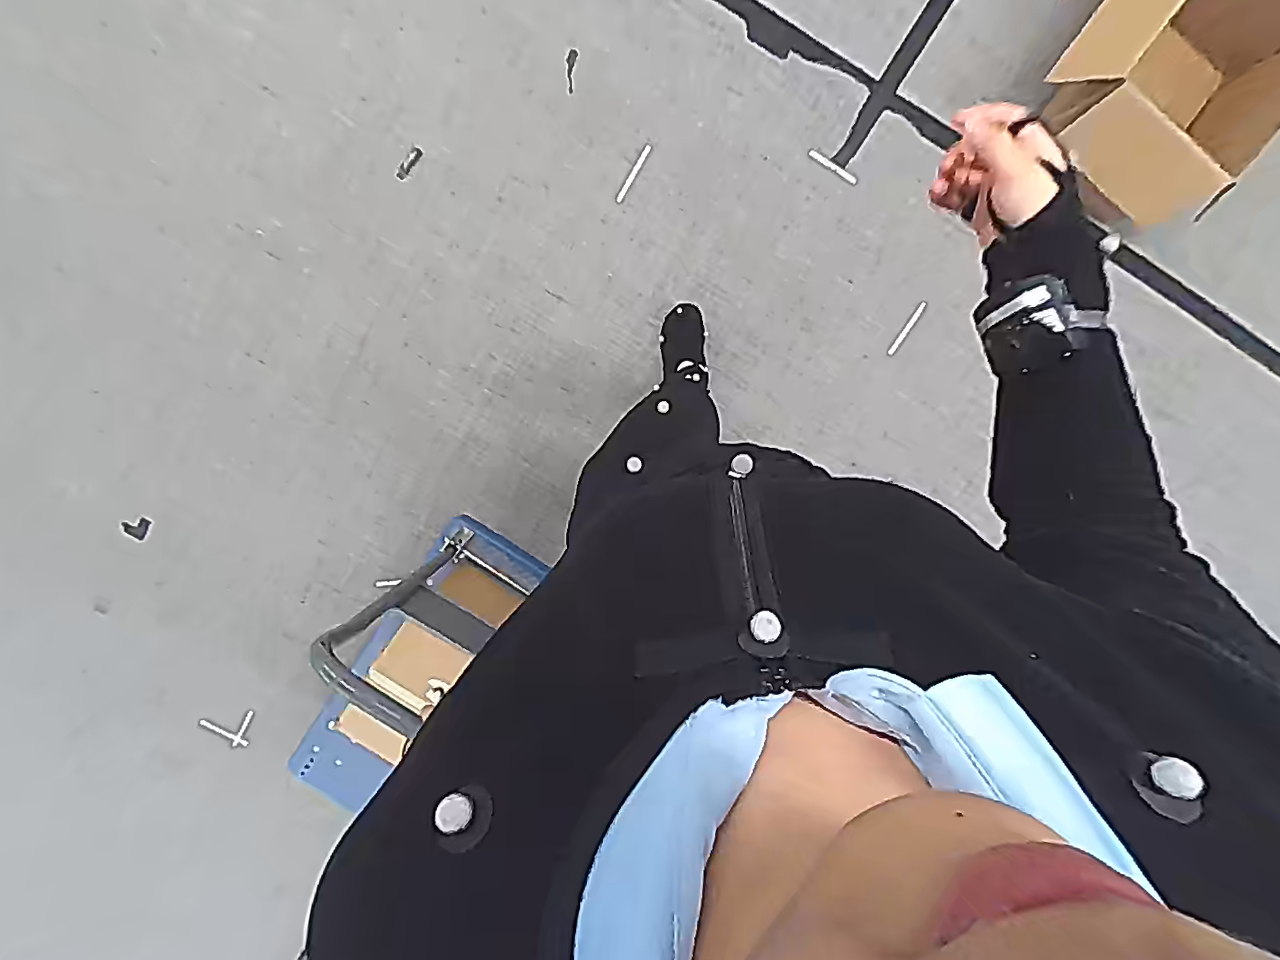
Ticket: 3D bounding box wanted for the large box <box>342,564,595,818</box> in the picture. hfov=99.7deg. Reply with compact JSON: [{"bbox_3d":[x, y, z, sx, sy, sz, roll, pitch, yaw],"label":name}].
[{"bbox_3d":[-0.363,0.462,1.252,0.408,0.320,0.320,35,97,-4],"label":"large box"}]
